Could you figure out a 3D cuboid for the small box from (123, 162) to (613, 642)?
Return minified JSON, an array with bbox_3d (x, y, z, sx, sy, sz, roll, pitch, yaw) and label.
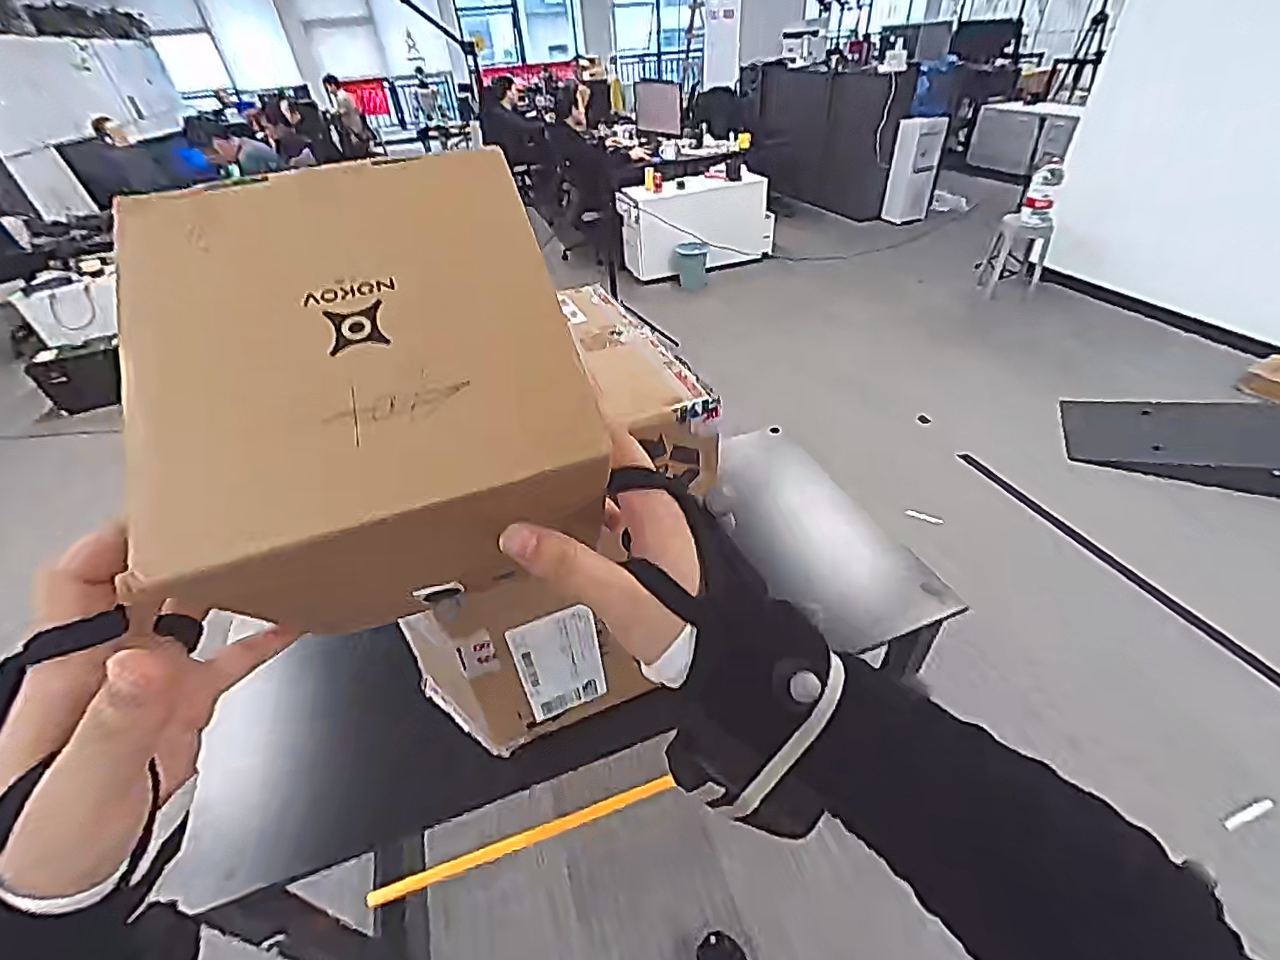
[{"bbox_3d":[-0.123,-0.028,0.294,0.168,0.176,0.179,-18,72,-12],"label":"small box"}]
